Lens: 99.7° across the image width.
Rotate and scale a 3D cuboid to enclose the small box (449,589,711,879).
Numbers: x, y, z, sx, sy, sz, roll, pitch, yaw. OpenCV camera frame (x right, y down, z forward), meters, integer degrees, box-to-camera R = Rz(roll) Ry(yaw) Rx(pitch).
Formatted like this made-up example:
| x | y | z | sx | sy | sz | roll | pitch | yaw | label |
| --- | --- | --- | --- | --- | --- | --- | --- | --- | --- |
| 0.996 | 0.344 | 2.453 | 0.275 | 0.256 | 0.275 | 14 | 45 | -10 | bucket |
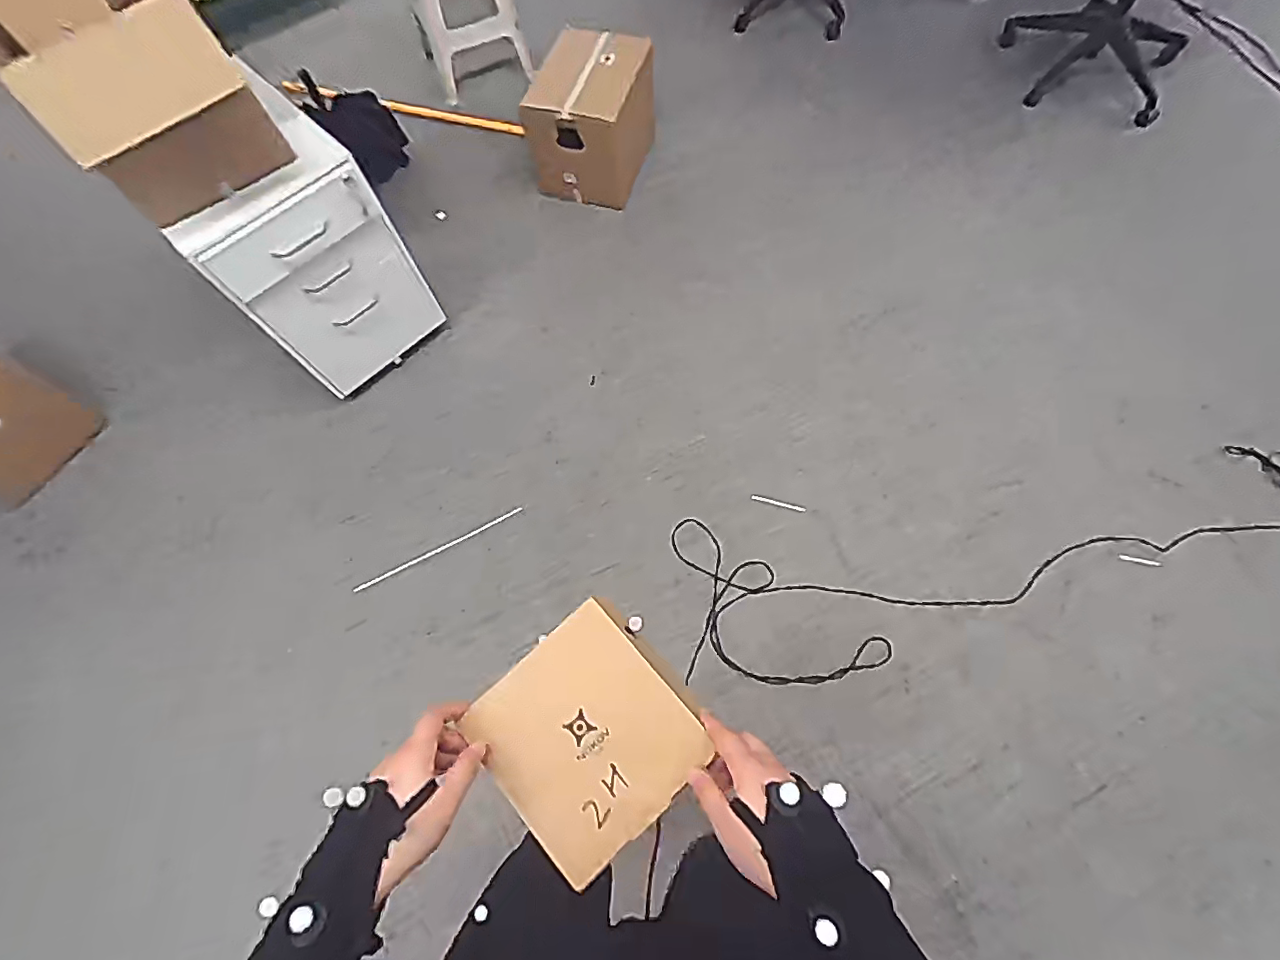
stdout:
| x | y | z | sx | sy | sz | roll | pitch | yaw | label |
| --- | --- | --- | --- | --- | --- | --- | --- | --- | --- |
| -0.050 | 0.233 | 0.544 | 0.168 | 0.176 | 0.179 | -41 | 77 | -5 | small box |
